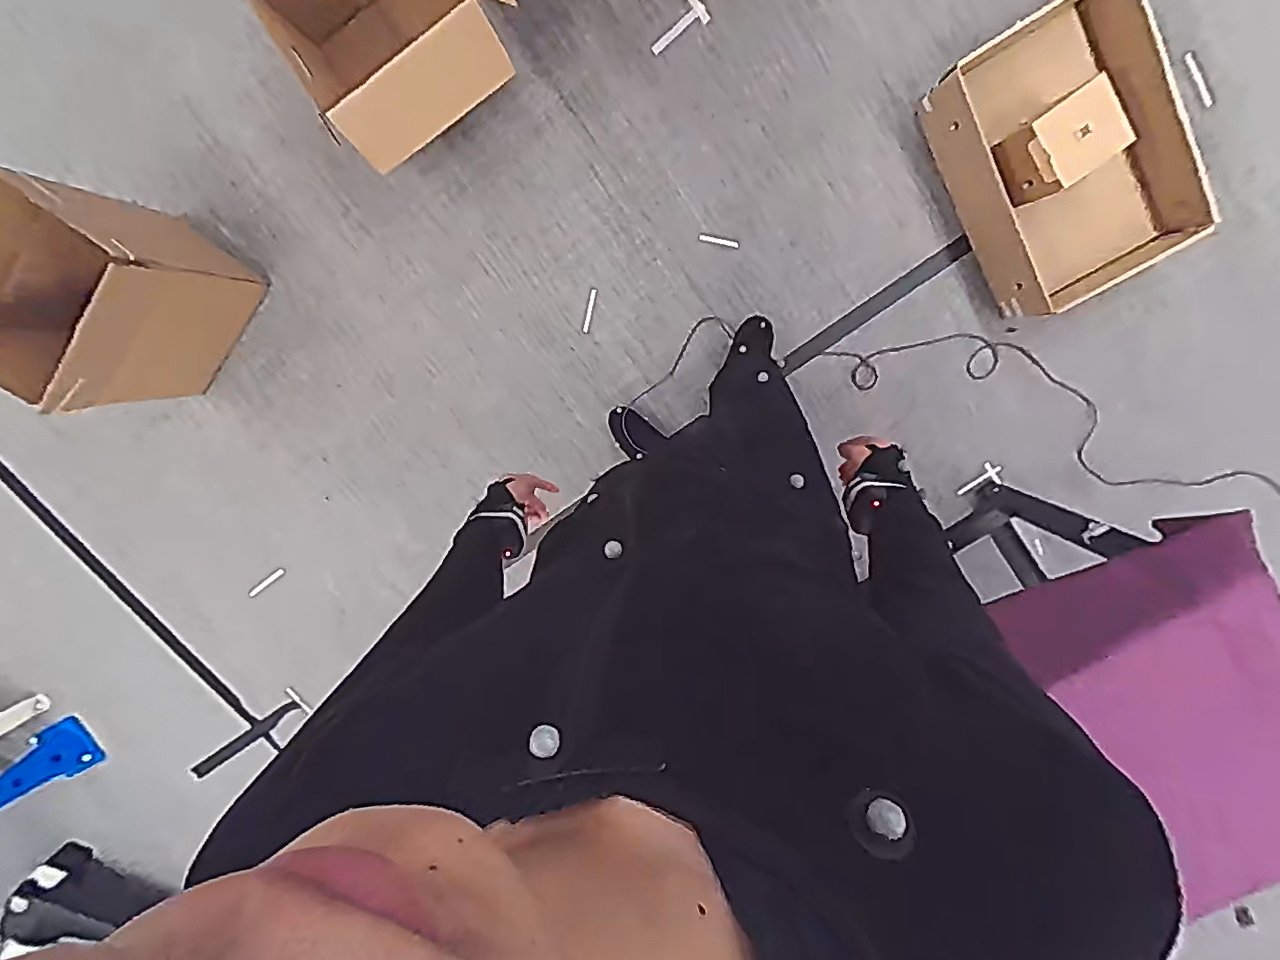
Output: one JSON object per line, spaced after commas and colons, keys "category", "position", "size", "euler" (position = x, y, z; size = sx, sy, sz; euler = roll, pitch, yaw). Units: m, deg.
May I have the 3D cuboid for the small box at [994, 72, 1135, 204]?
{"category": "small box", "position": [0.971, -0.781, 1.259], "size": [0.179, 0.176, 0.168], "euler": [-35, 101, 9]}
